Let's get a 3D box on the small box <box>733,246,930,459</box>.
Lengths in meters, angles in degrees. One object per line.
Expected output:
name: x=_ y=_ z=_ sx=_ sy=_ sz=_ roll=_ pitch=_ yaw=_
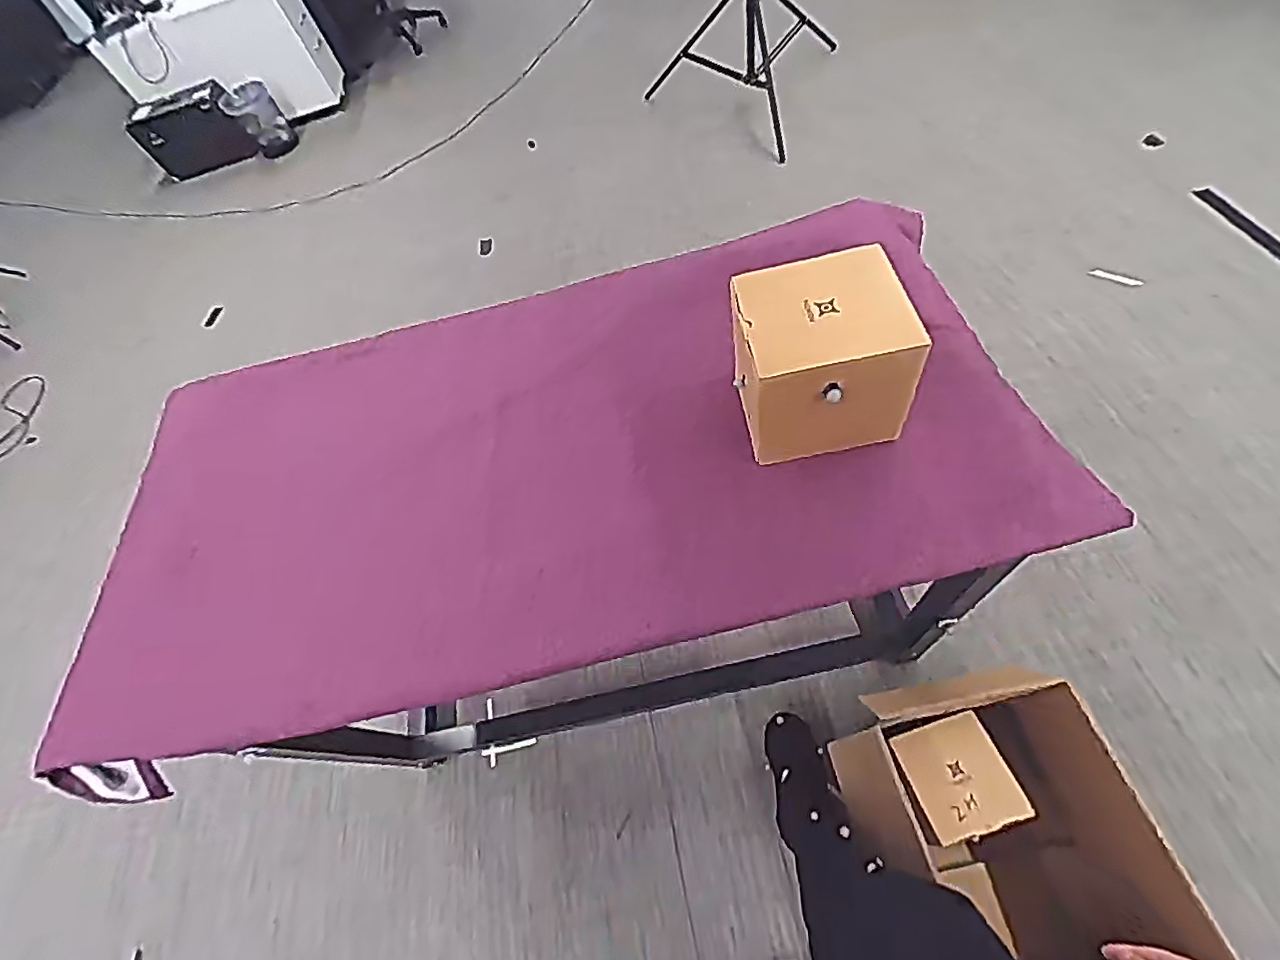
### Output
small box: x=0.216 y=-0.146 z=0.659 sx=0.179 sy=0.176 sz=0.168 roll=-11 pitch=57 yaw=7
